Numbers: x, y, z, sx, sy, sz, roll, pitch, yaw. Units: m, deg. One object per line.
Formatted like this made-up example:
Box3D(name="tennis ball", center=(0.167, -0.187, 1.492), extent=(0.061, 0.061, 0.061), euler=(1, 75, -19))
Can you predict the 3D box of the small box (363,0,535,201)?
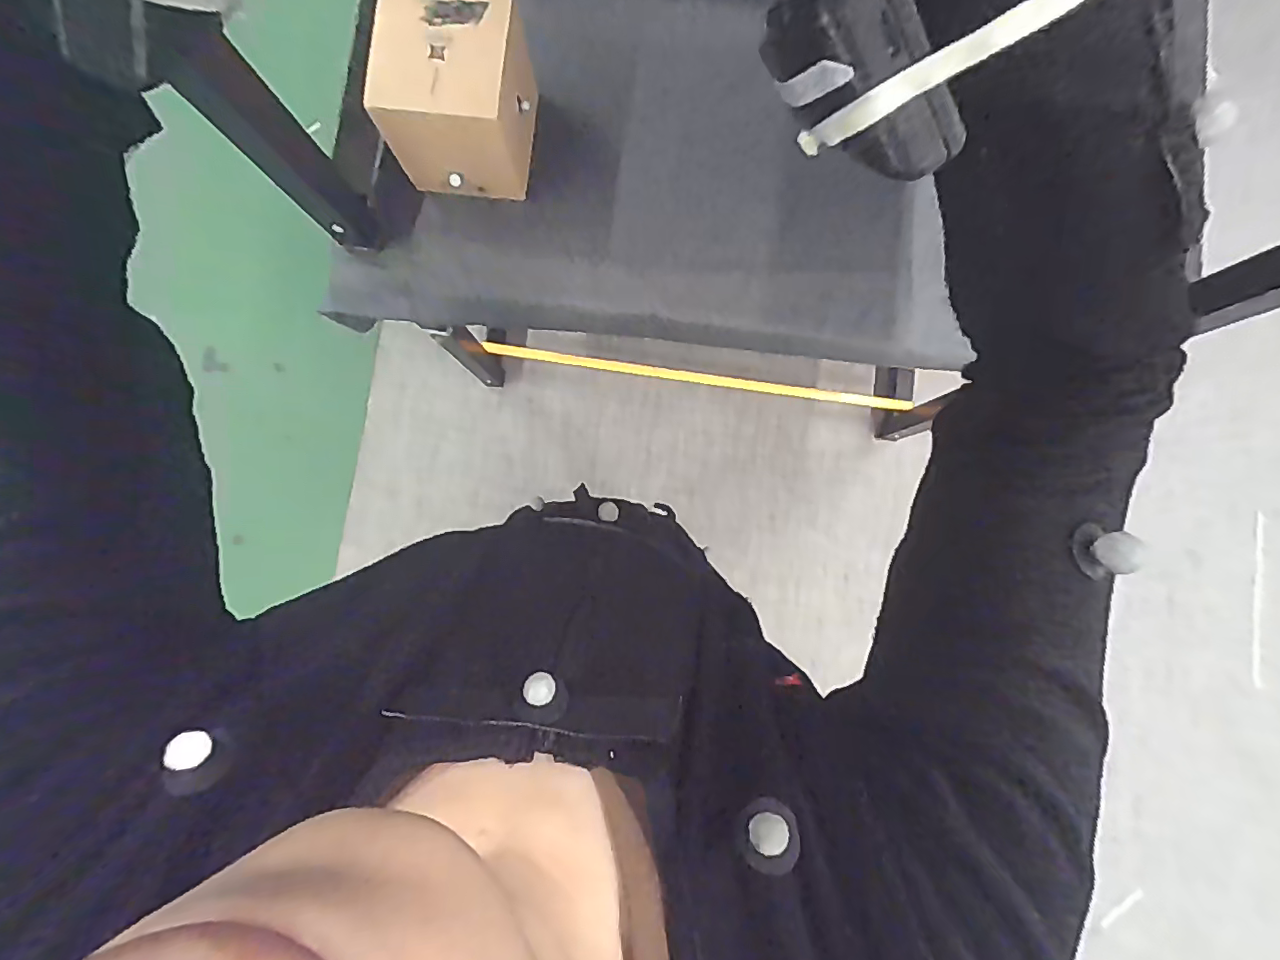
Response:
Box3D(name="small box", center=(-0.243, -0.517, 0.734), extent=(0.168, 0.176, 0.179), euler=(5, 85, 0))
